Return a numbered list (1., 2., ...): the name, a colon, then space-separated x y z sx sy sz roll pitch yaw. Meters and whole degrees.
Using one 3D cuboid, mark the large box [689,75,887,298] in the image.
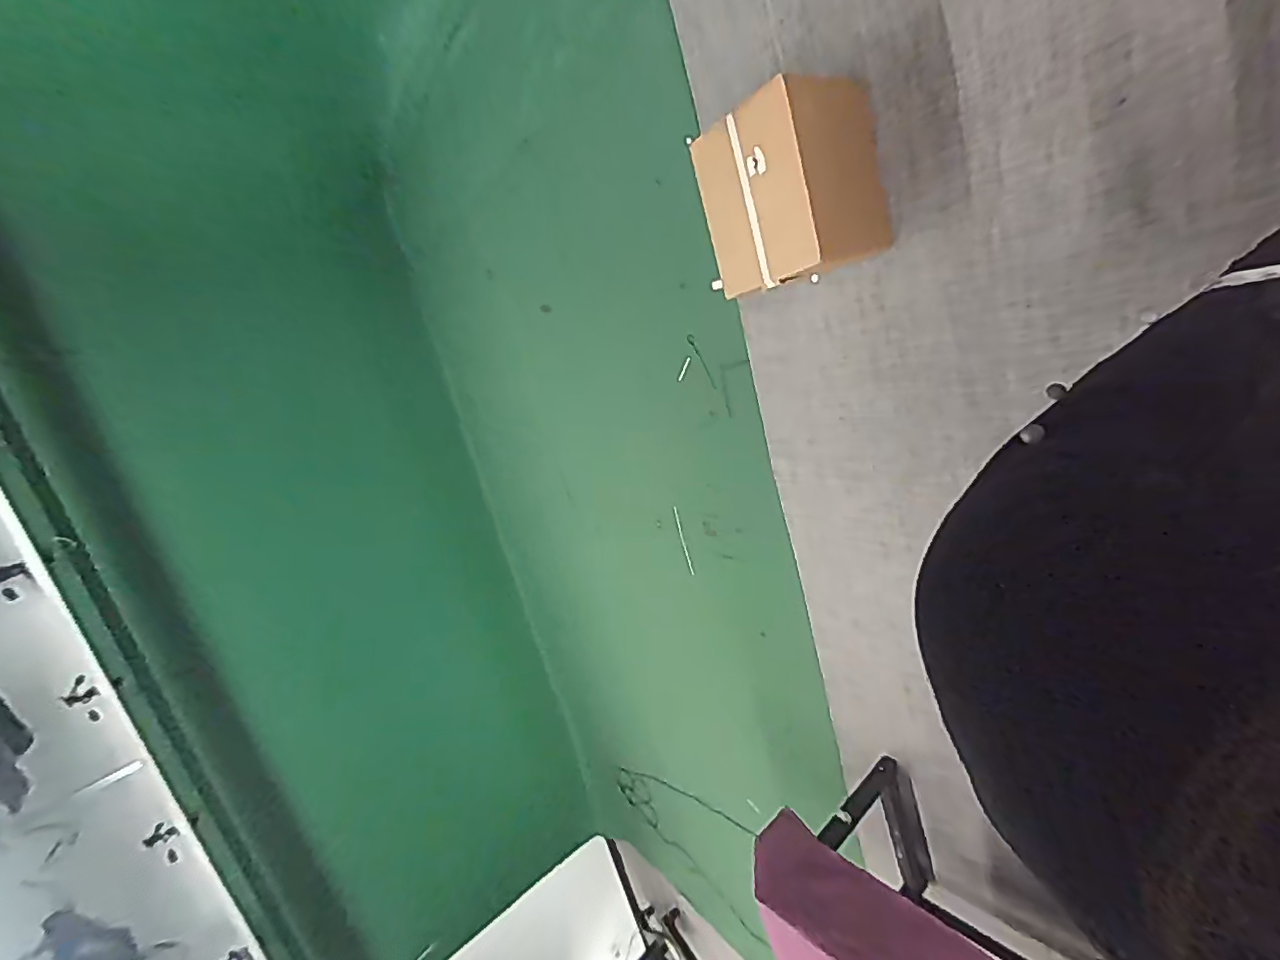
1. large box: 0.383 -0.730 1.393 0.320 0.320 0.408 1 110 55
